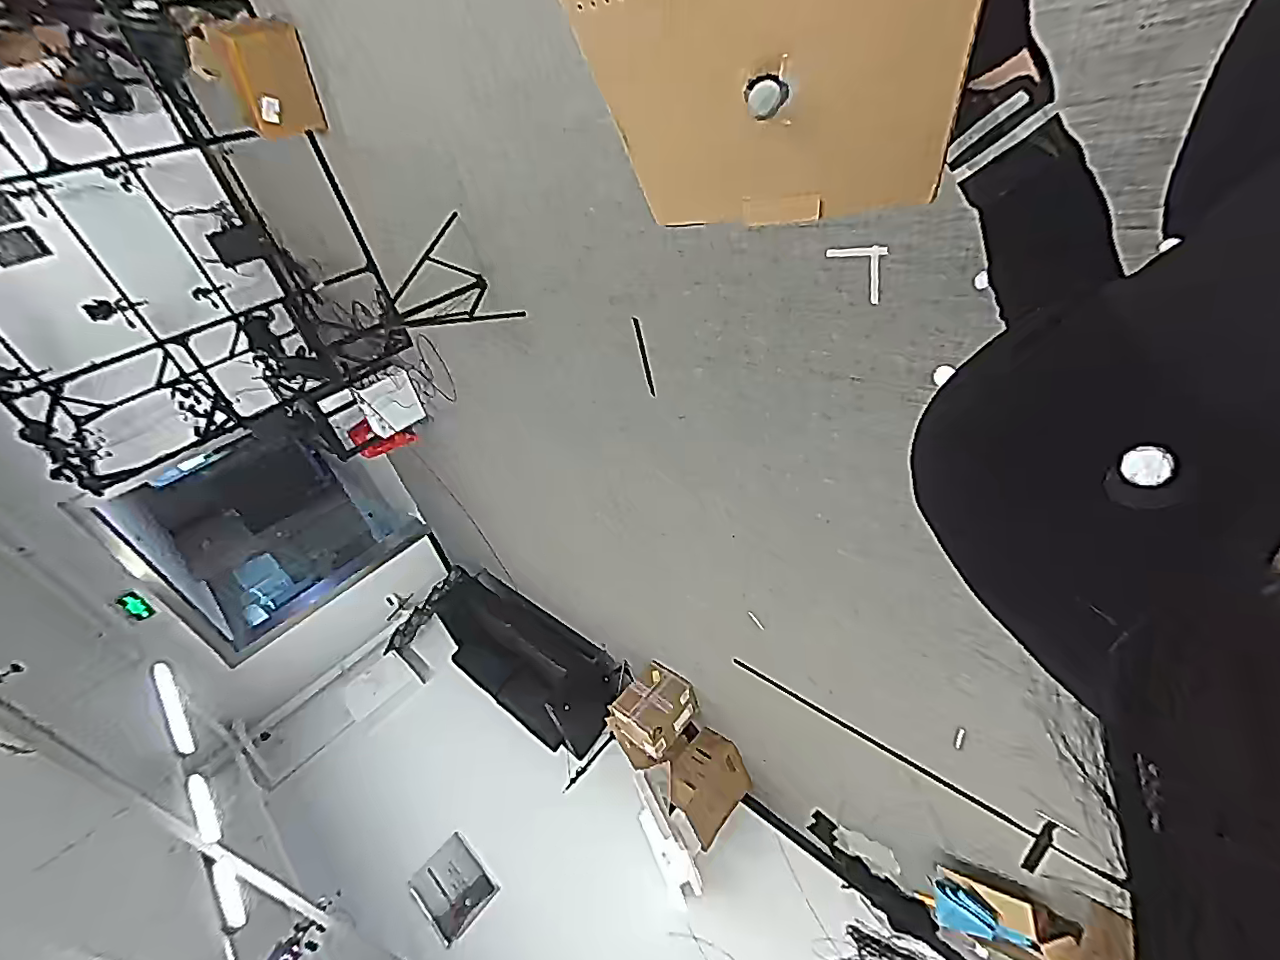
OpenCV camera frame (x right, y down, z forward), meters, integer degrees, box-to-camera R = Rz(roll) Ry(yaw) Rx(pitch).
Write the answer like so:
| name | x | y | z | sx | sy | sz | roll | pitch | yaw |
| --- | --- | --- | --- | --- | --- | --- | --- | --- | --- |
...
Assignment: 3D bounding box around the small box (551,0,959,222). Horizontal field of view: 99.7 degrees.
| name | x | y | z | sx | sy | sz | roll | pitch | yaw |
| --- | --- | --- | --- | --- | --- | --- | --- | --- | --- |
| small box | 0.063 | -0.262 | 0.262 | 0.168 | 0.179 | 0.176 | 5 | 167 | 22 |
